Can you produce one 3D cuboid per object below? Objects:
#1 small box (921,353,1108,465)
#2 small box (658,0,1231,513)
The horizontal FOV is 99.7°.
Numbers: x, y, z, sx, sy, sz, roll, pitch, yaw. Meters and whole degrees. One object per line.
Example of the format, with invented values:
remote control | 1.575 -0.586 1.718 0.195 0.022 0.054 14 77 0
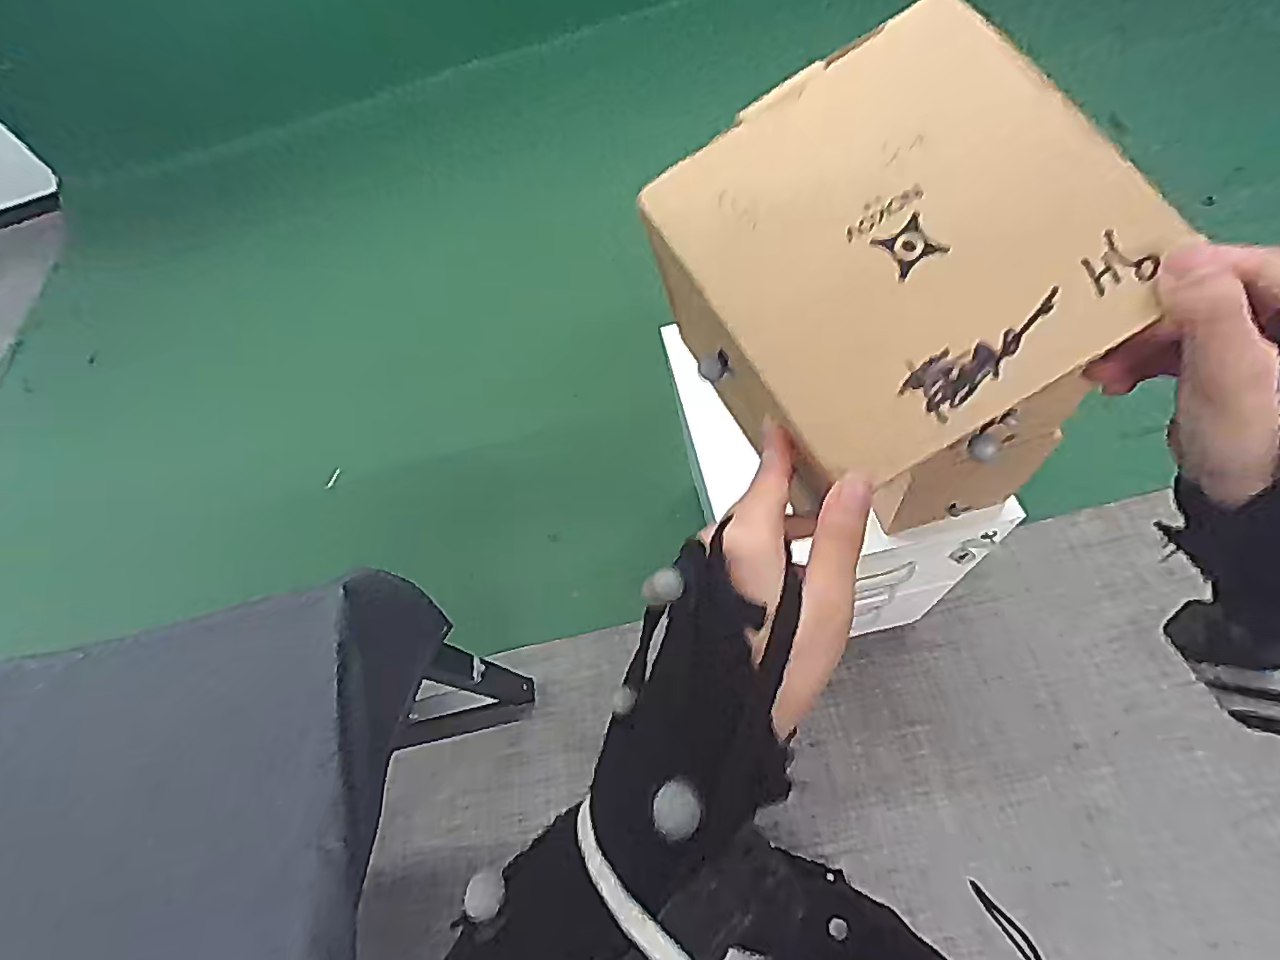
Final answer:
small box | 0.334 -0.134 0.564 0.168 0.176 0.179 -18 59 2
small box | 0.130 -0.098 0.308 0.168 0.176 0.179 -31 76 5
